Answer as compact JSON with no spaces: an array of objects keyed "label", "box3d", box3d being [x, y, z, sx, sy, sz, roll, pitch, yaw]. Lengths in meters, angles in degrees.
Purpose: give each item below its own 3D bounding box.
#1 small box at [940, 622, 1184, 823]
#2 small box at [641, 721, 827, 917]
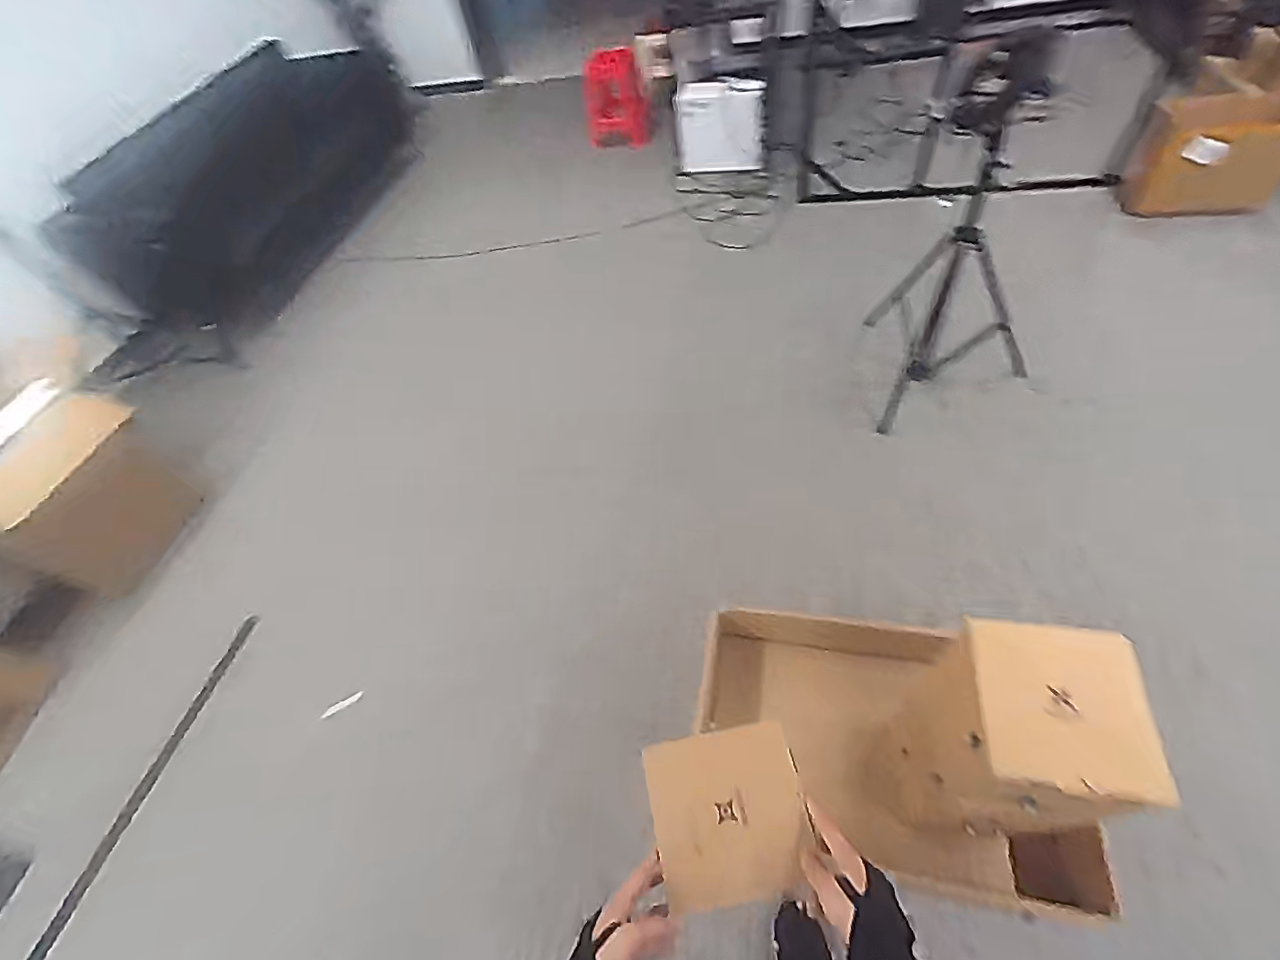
[{"label":"small box","box3d":[0.479,0.293,0.653,0.168,0.176,0.179,3,56,15]},{"label":"small box","box3d":[0.108,0.412,0.673,0.179,0.176,0.168,-13,58,1]}]
